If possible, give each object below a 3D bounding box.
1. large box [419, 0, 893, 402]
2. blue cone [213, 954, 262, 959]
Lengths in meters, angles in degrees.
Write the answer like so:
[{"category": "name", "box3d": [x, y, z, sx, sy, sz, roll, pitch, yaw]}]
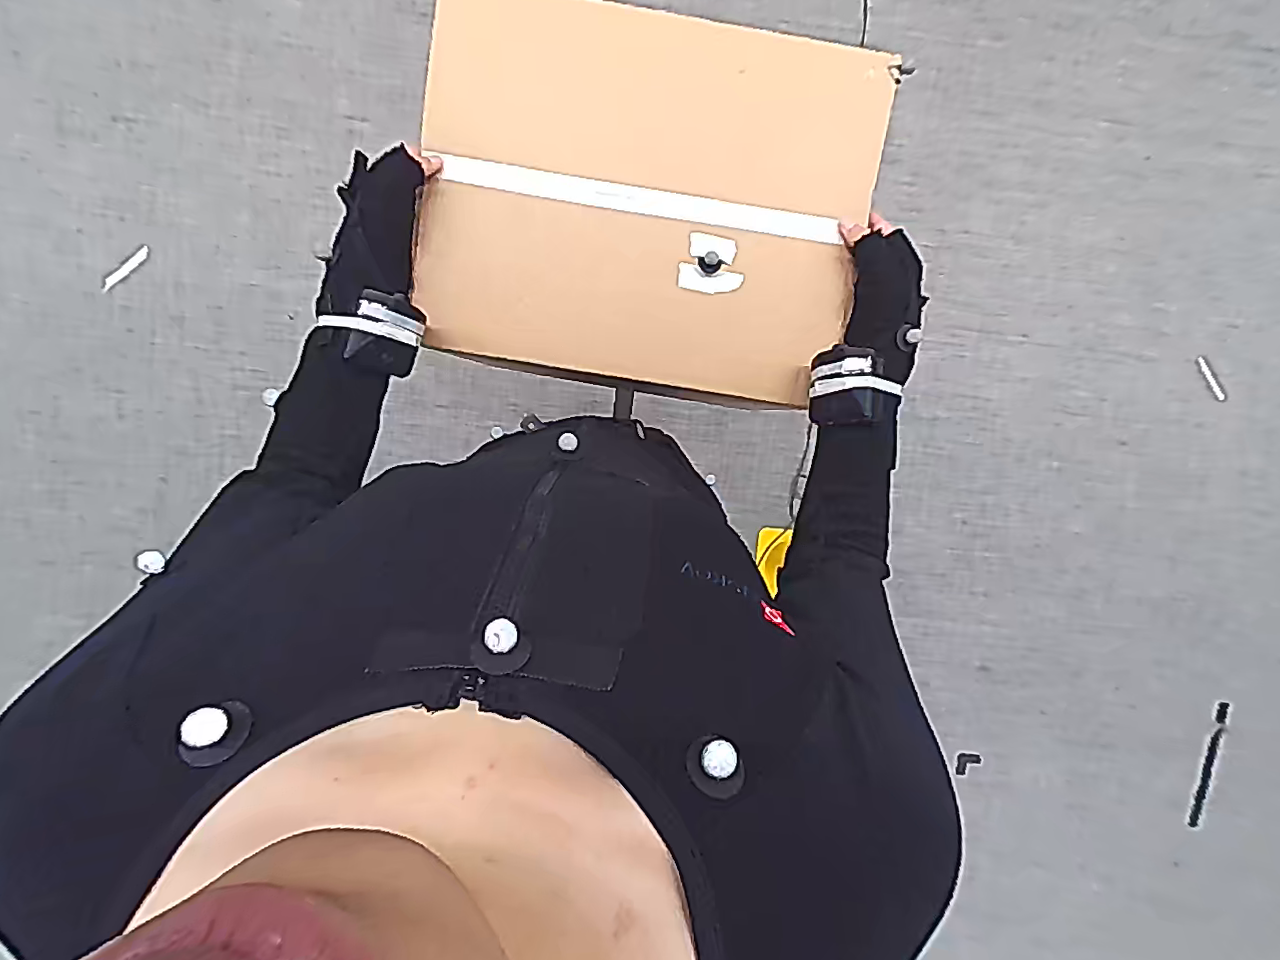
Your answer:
[{"category": "large box", "box3d": [0.005, -0.274, 0.639, 0.408, 0.320, 0.320, 9, 98, -2]}, {"category": "blue cone", "box3d": [-1.183, 1.523, 1.447, 0.192, 0.380, 0.193, 9, 96, -1]}]
